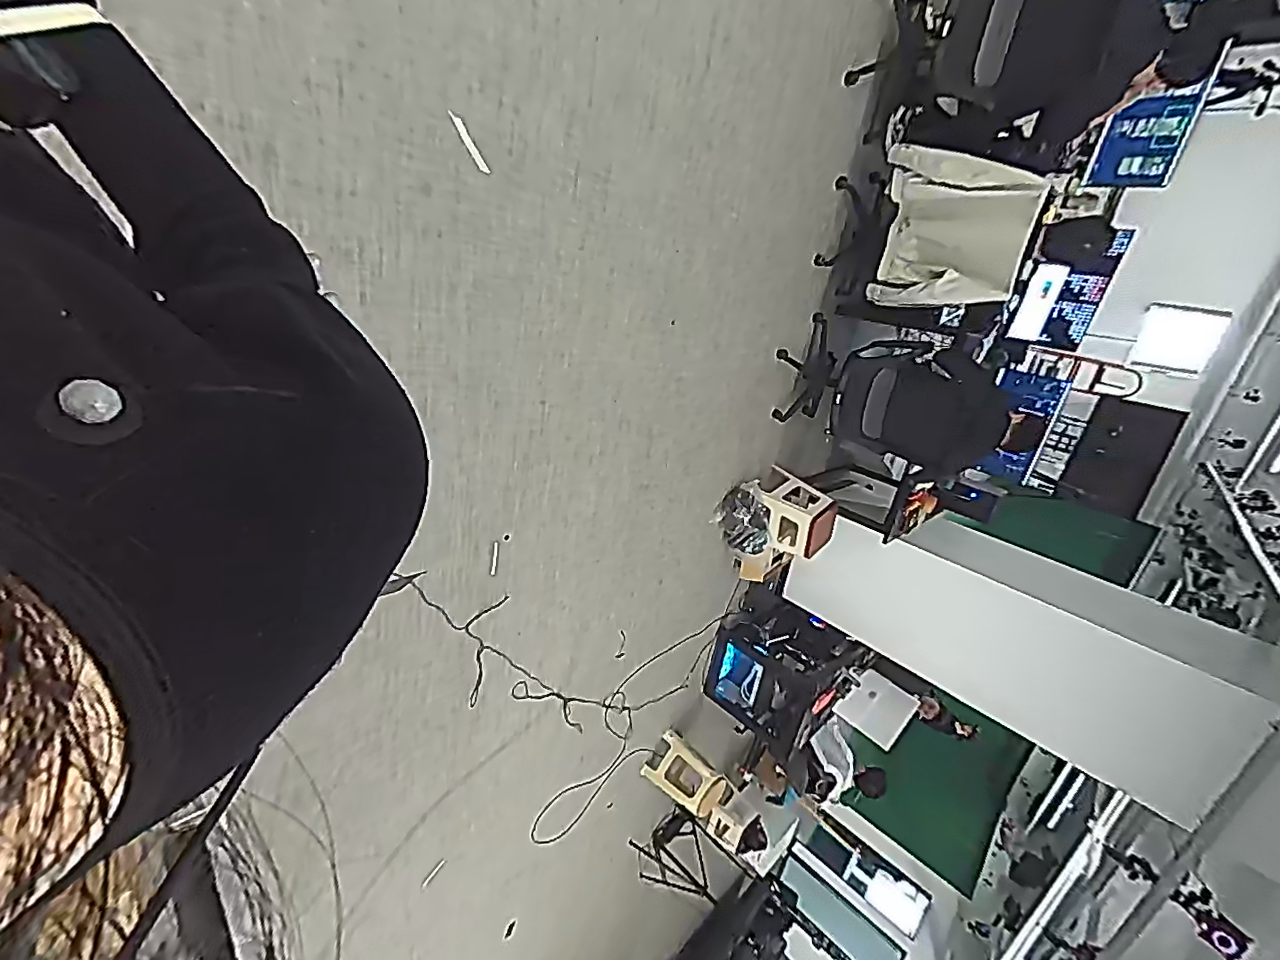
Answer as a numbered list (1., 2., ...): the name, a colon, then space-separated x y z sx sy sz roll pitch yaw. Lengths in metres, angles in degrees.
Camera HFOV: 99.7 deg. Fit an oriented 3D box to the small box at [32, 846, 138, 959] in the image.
1. small box: -1.383 1.076 1.351 0.168 0.176 0.179 -10 120 -46
